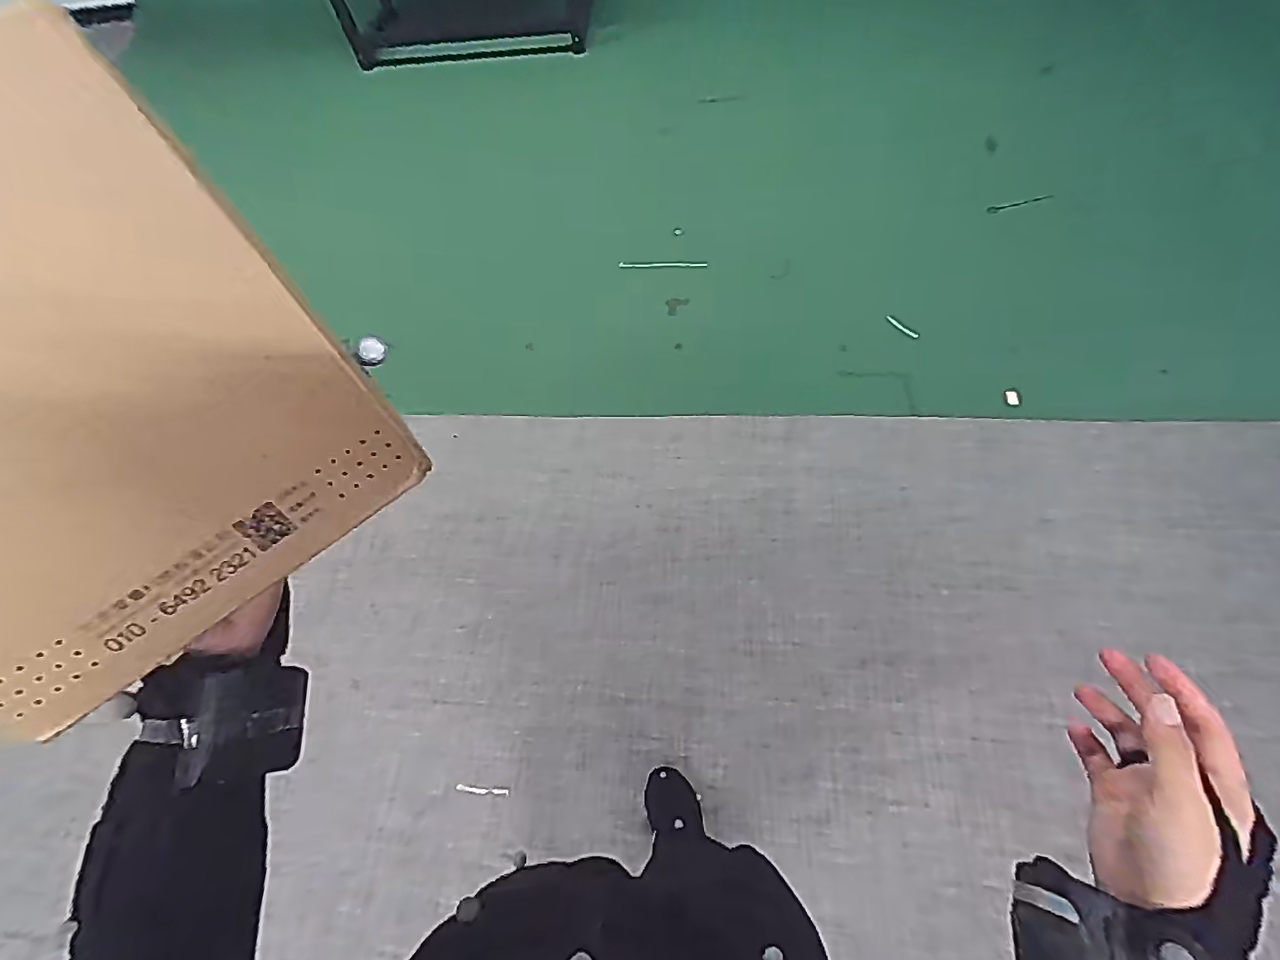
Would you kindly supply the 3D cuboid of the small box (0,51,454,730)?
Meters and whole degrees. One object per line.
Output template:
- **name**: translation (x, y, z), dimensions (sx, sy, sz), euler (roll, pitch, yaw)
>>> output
- **small box**: translation (-0.212, -0.033, 0.239), dimensions (0.168, 0.176, 0.179), euler (-39, 33, -14)
